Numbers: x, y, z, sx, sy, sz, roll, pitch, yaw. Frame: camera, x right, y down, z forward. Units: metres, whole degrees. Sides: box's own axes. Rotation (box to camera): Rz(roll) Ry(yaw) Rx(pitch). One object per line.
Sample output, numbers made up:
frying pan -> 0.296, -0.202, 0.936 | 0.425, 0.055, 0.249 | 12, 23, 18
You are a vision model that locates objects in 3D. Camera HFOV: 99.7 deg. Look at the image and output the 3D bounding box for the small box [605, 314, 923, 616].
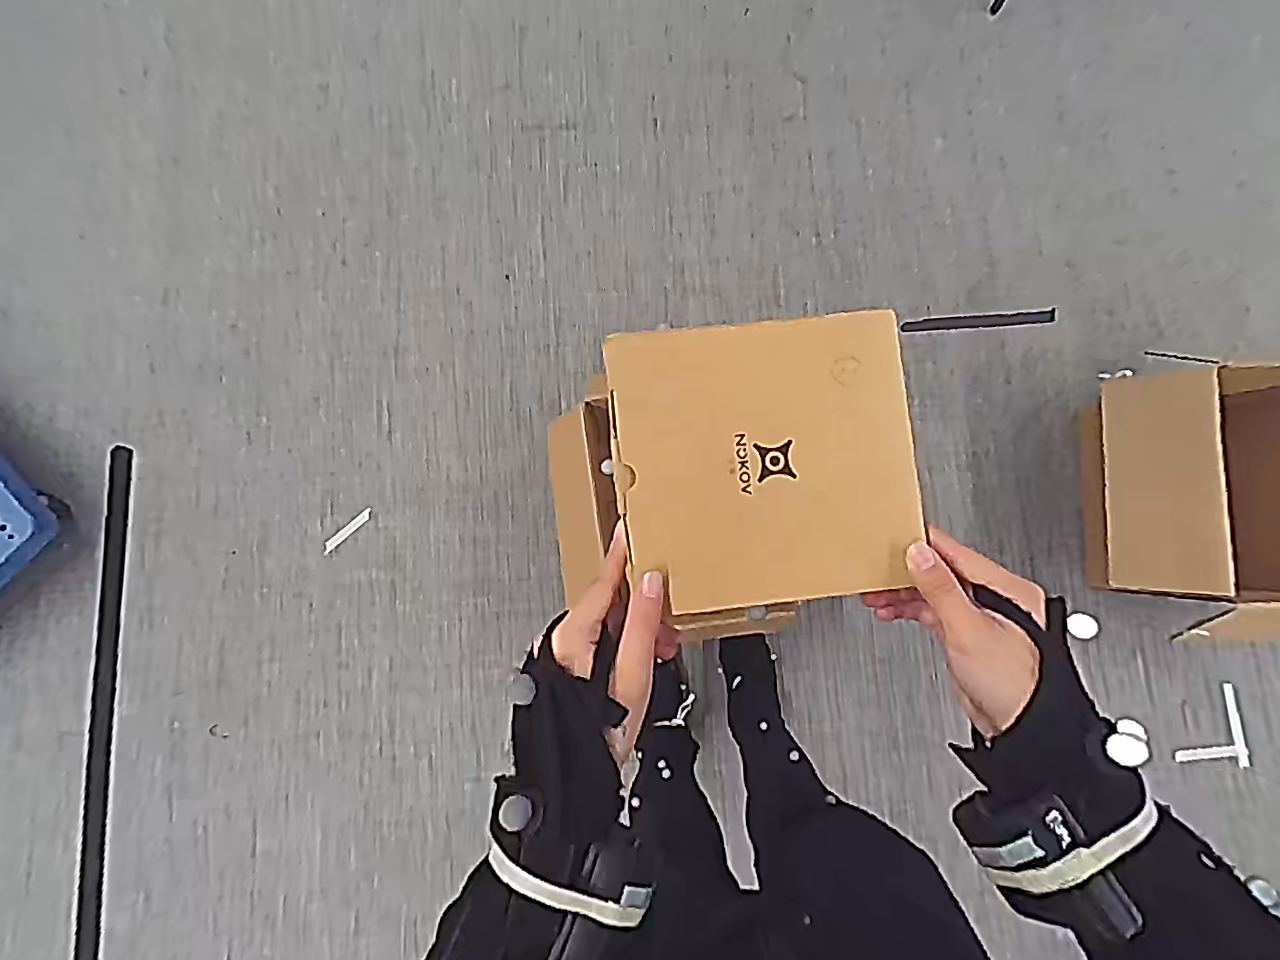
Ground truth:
small box -> 0.071, -0.008, 0.397 | 0.179, 0.176, 0.168 | -7, 88, -1
